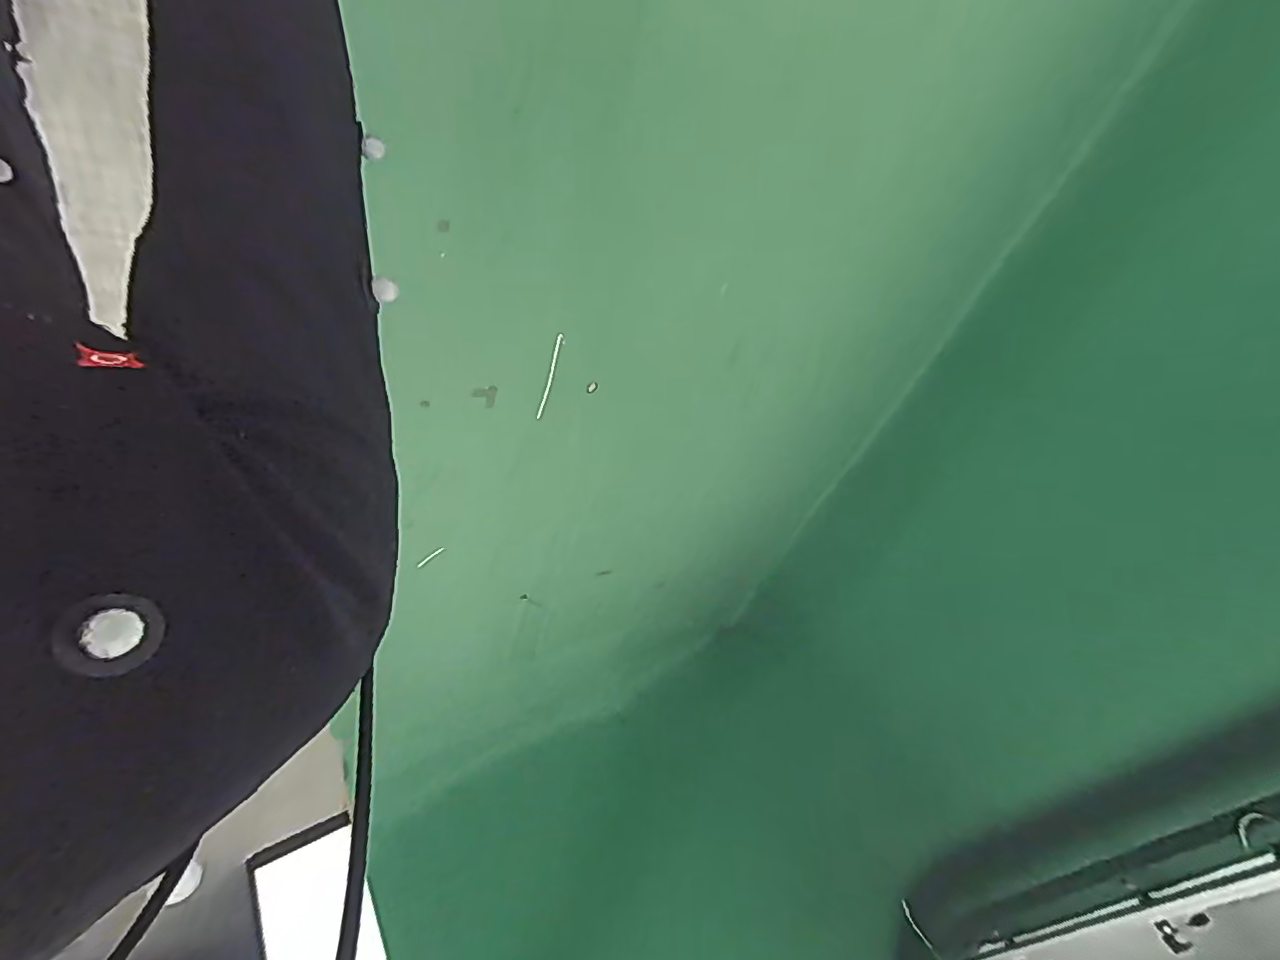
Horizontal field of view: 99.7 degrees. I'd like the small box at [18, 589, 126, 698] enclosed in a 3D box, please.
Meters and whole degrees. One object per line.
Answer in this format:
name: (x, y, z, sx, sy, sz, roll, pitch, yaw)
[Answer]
small box: (-1.409, 0.403, 1.353, 0.168, 0.176, 0.179, -7, 135, -40)
